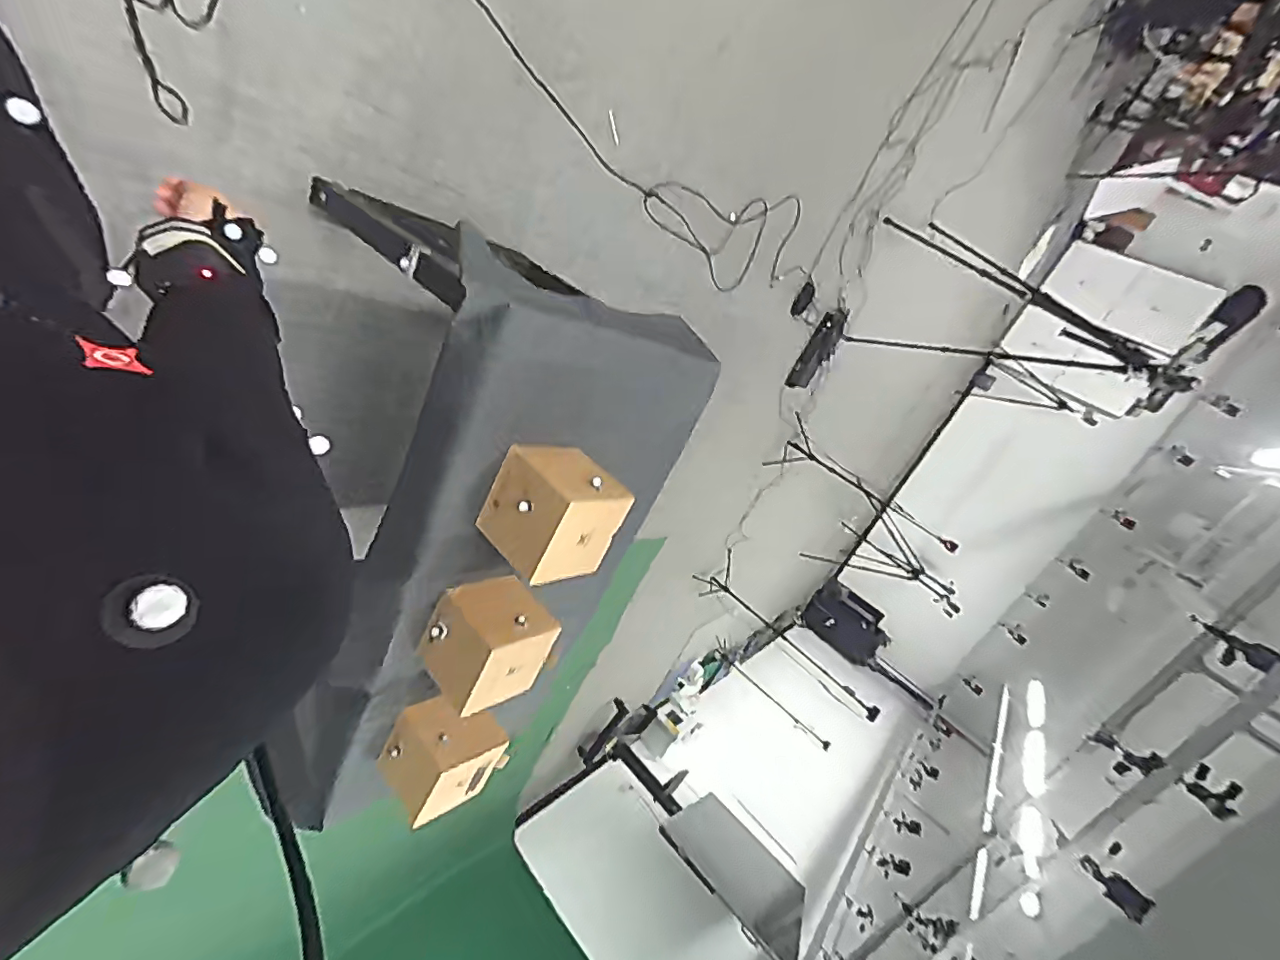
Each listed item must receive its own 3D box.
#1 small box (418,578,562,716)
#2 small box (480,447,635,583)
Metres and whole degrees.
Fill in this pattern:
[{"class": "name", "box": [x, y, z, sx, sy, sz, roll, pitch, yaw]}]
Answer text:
[{"class": "small box", "box": [-0.289, 0.307, 1.039, 0.179, 0.176, 0.168, 0, 123, -55]}, {"class": "small box", "box": [-0.147, 0.053, 0.947, 0.179, 0.176, 0.168, -2, 125, -56]}]
